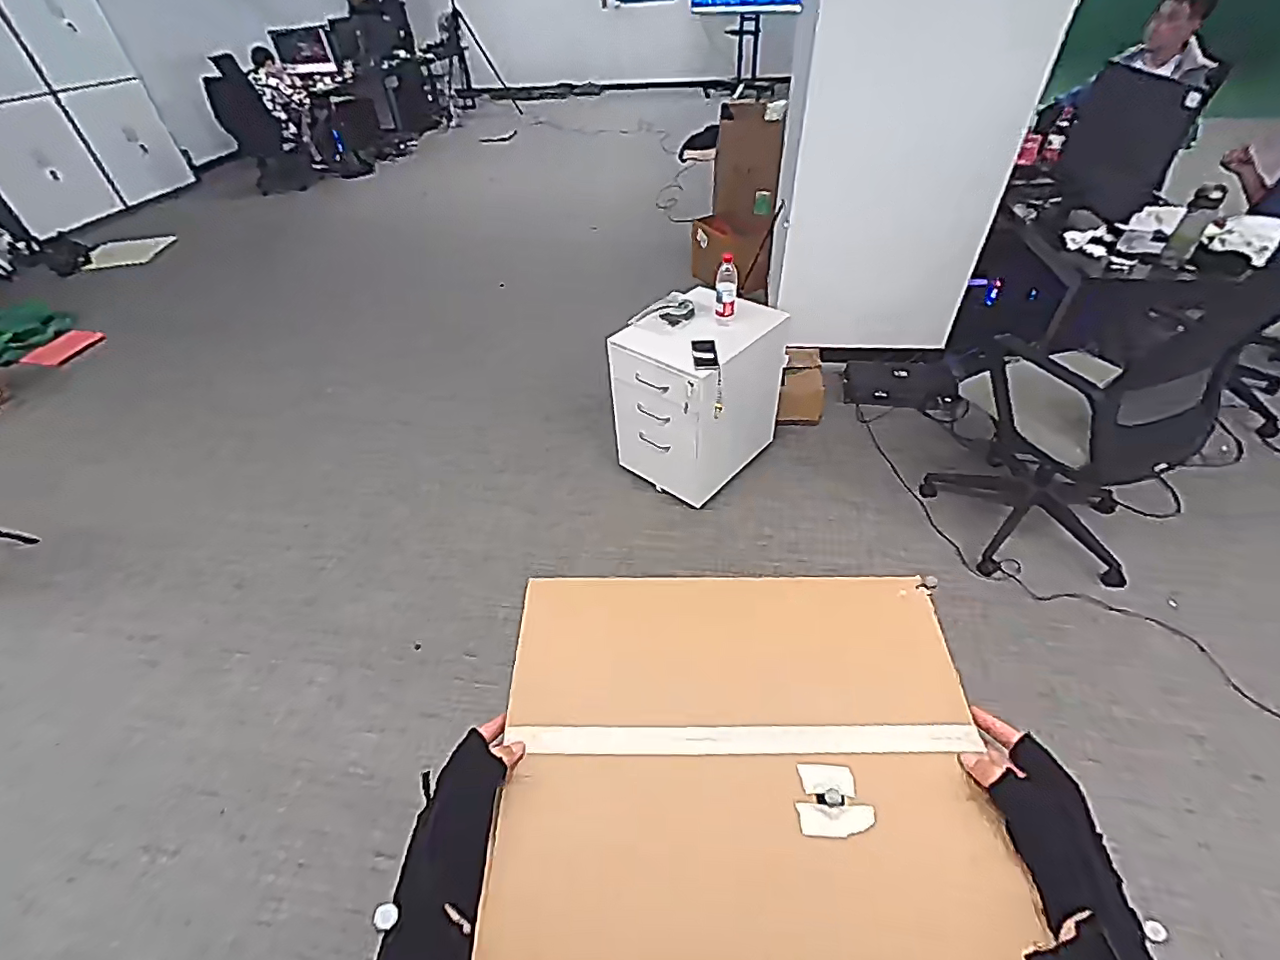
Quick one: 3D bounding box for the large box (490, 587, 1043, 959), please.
[{"bbox_3d":[0.087,0.330,0.587,0.408,0.320,0.320,-1,52,1],"label":"large box"}]
